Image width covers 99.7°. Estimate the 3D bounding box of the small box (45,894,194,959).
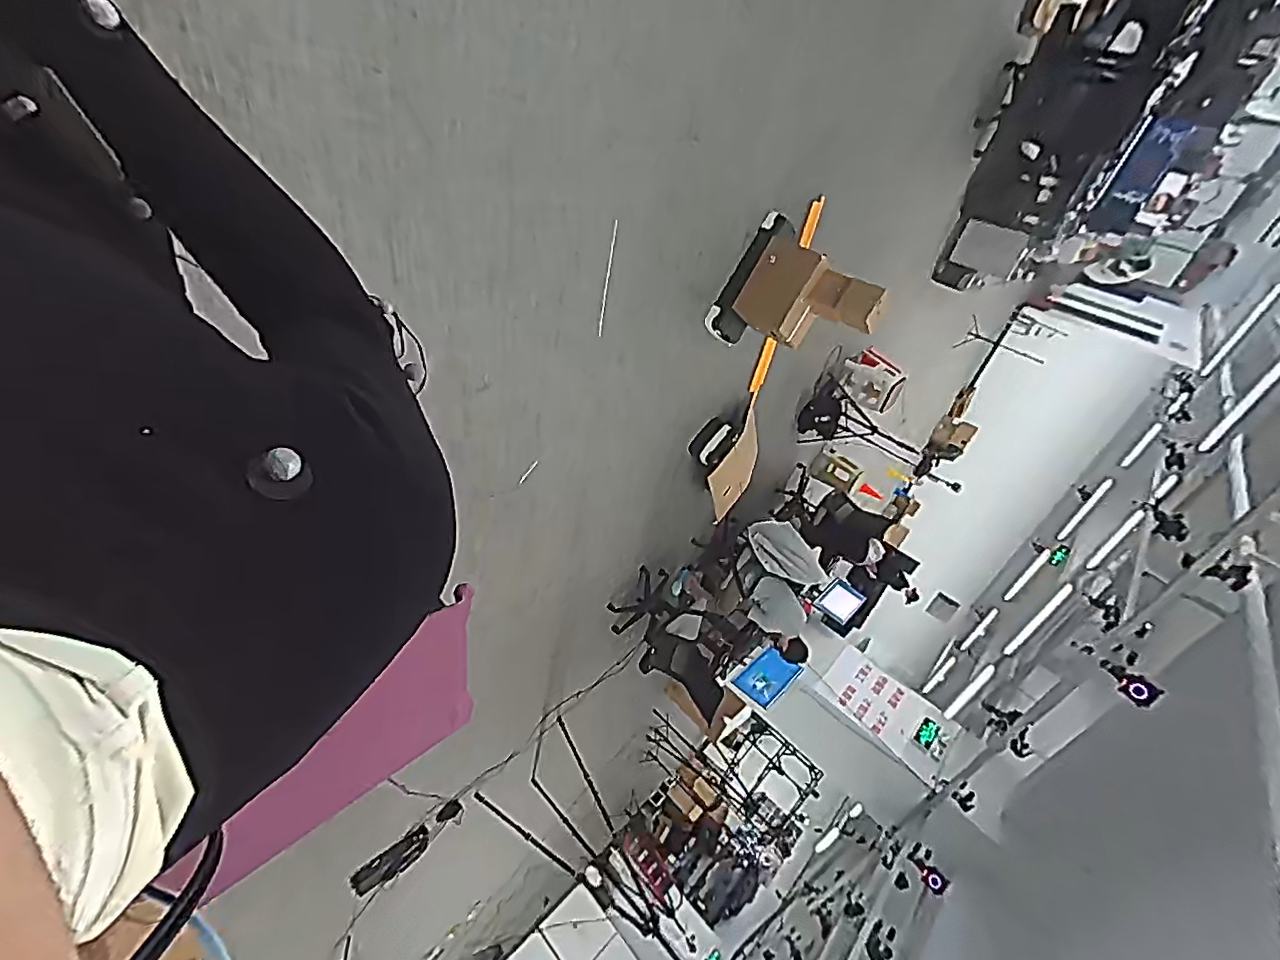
[{"bbox_3d":[-1.111,1.027,1.138,0.168,0.176,0.179,-48,151,-11],"label":"small box"}]
